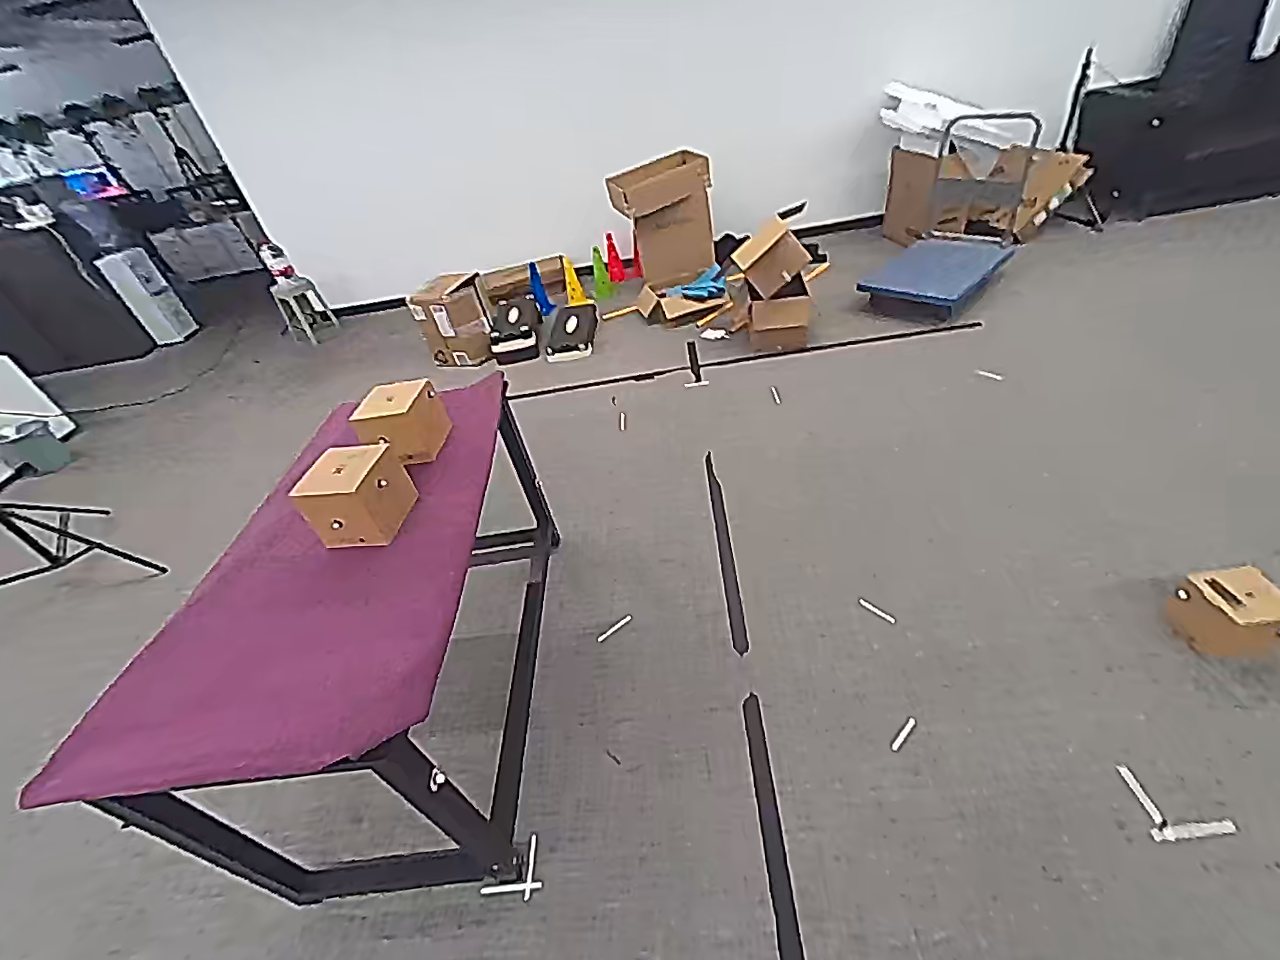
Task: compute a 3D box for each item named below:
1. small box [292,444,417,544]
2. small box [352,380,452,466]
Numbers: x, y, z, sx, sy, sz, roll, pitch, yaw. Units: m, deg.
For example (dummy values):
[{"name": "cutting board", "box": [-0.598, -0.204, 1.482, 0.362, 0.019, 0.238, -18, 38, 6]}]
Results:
[{"name": "small box", "box": [-0.655, 0.038, 1.269, 0.168, 0.176, 0.179, -3, 39, 10]}, {"name": "small box", "box": [-0.648, -0.152, 1.500, 0.168, 0.176, 0.179, -7, 39, 8]}]
